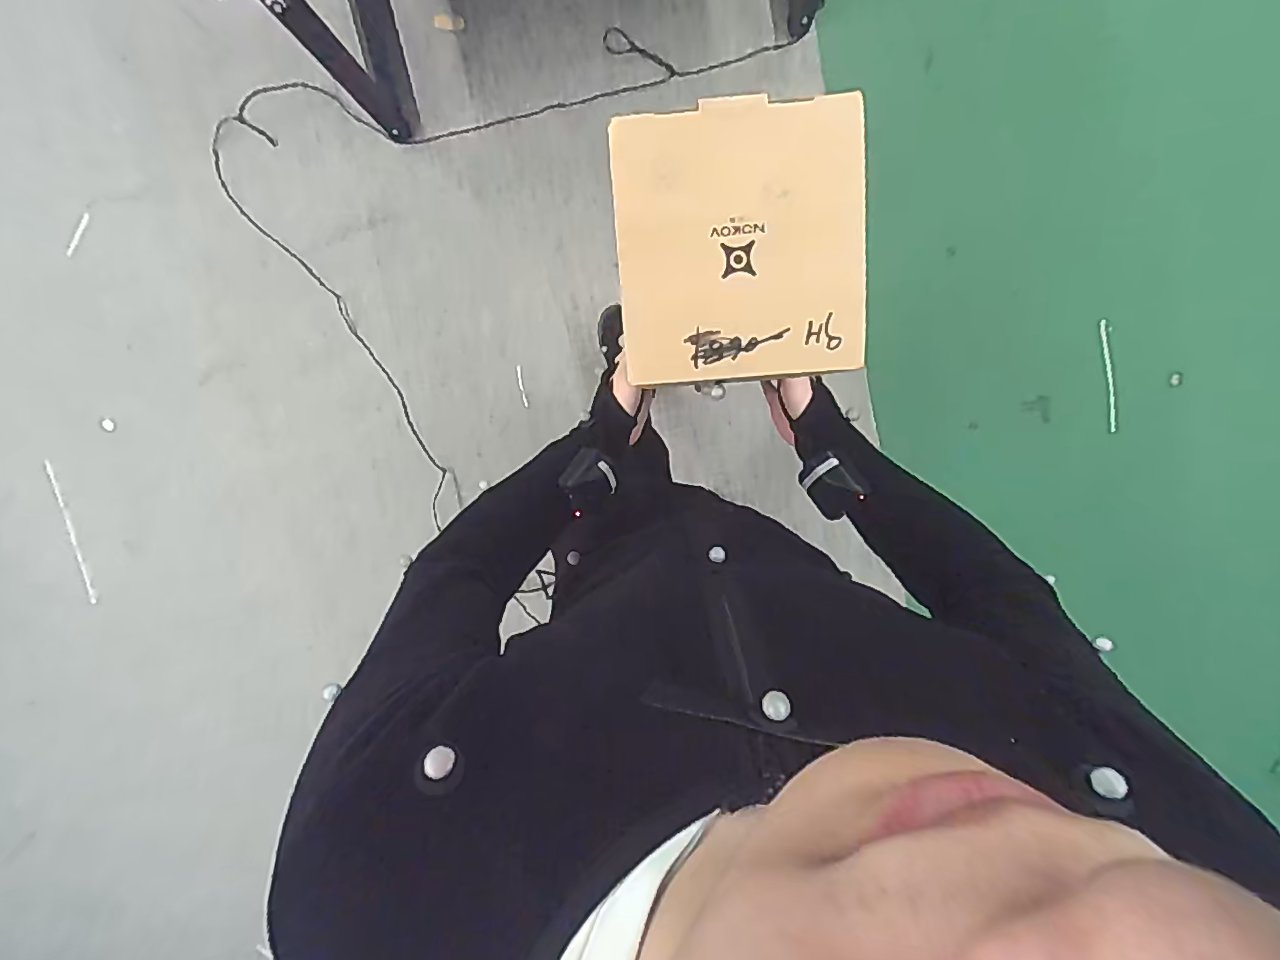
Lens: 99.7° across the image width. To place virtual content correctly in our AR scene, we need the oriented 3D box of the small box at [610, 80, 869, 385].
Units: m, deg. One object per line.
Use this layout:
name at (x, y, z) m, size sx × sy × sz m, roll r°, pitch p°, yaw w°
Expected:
small box at (0.069, -0.171, 0.430) m, size 0.168 × 0.176 × 0.179 m, roll -3°, pitch 99°, yaw 4°
